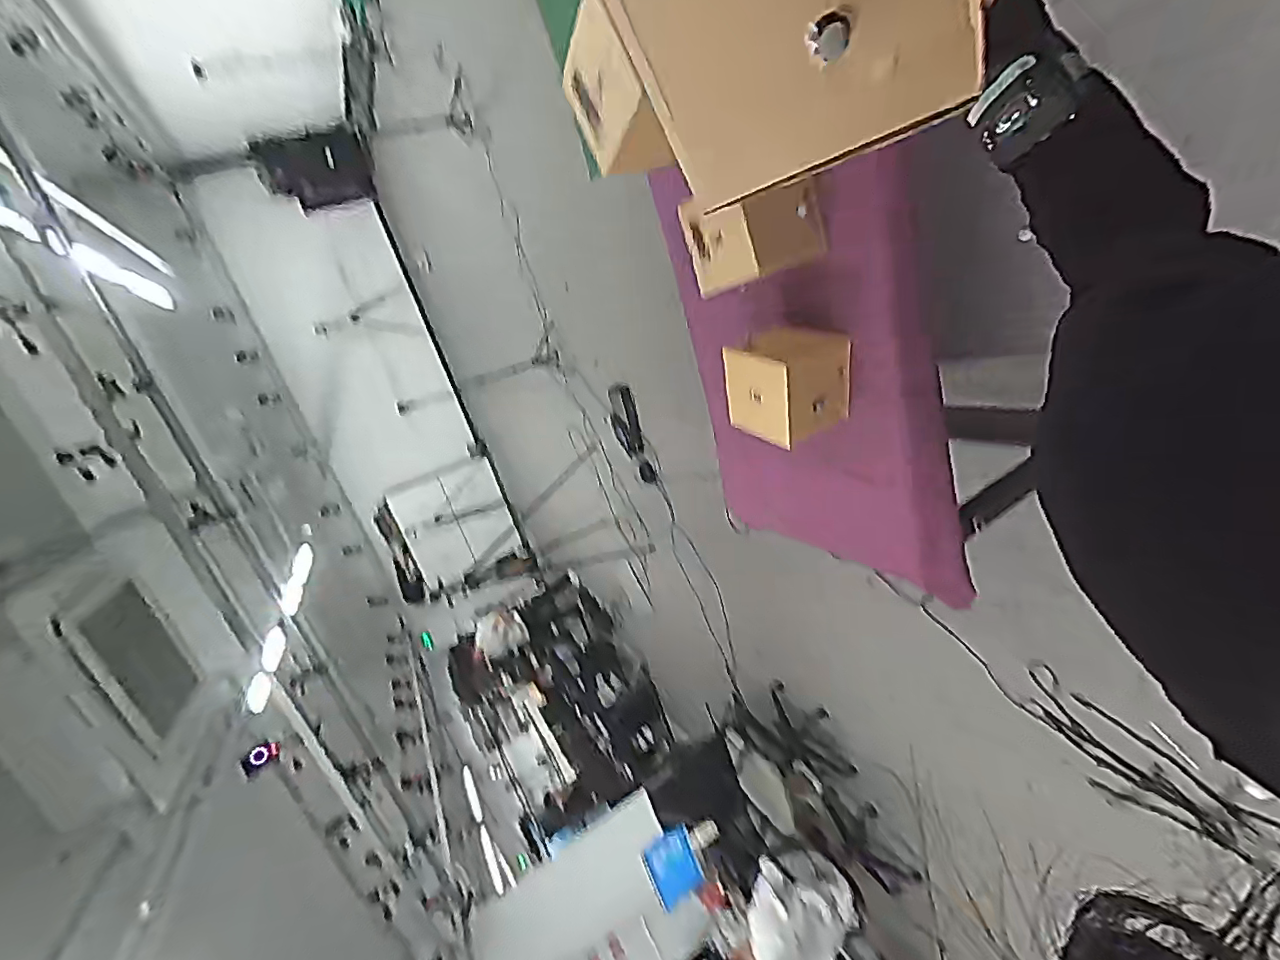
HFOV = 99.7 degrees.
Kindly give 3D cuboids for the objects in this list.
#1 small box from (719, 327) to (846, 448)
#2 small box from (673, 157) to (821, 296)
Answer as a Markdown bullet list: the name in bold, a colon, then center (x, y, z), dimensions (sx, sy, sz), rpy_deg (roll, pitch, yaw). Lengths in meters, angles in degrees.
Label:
- **small box**: center (0.283, -0.189, 1.063), dimensions (0.179, 0.176, 0.168), rpy_deg (35, 144, 51)
- **small box**: center (0.193, -0.451, 0.976), dimensions (0.179, 0.176, 0.168), rpy_deg (10, 124, 62)
